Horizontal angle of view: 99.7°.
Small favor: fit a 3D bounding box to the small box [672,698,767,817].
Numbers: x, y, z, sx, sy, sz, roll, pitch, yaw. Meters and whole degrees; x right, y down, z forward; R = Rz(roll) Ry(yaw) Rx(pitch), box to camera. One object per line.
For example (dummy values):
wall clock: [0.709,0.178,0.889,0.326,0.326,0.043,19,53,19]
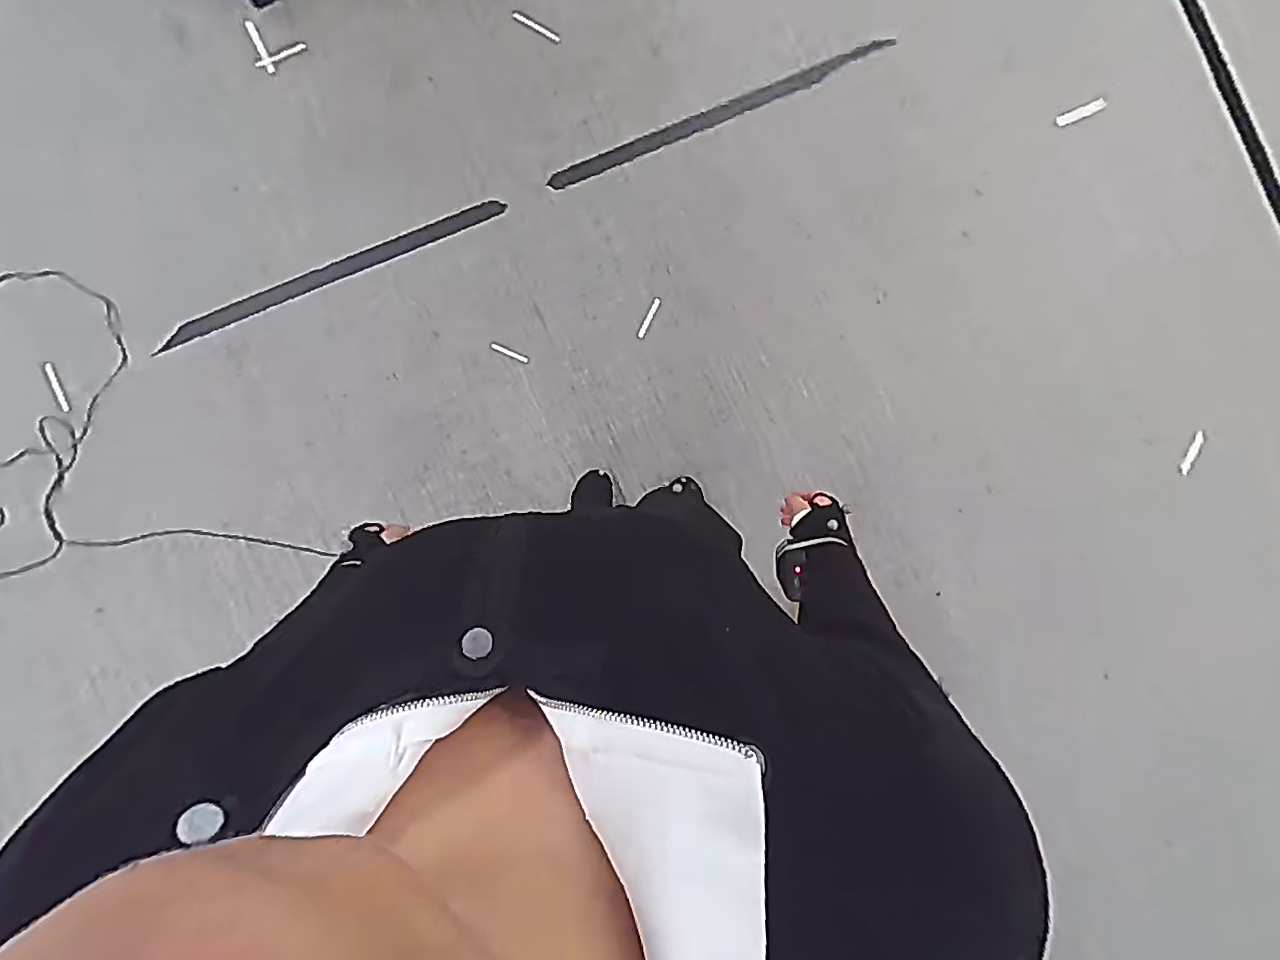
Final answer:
small box: [0.188,0.668,1.322,0.168,0.176,0.179,-20,91,-3]
